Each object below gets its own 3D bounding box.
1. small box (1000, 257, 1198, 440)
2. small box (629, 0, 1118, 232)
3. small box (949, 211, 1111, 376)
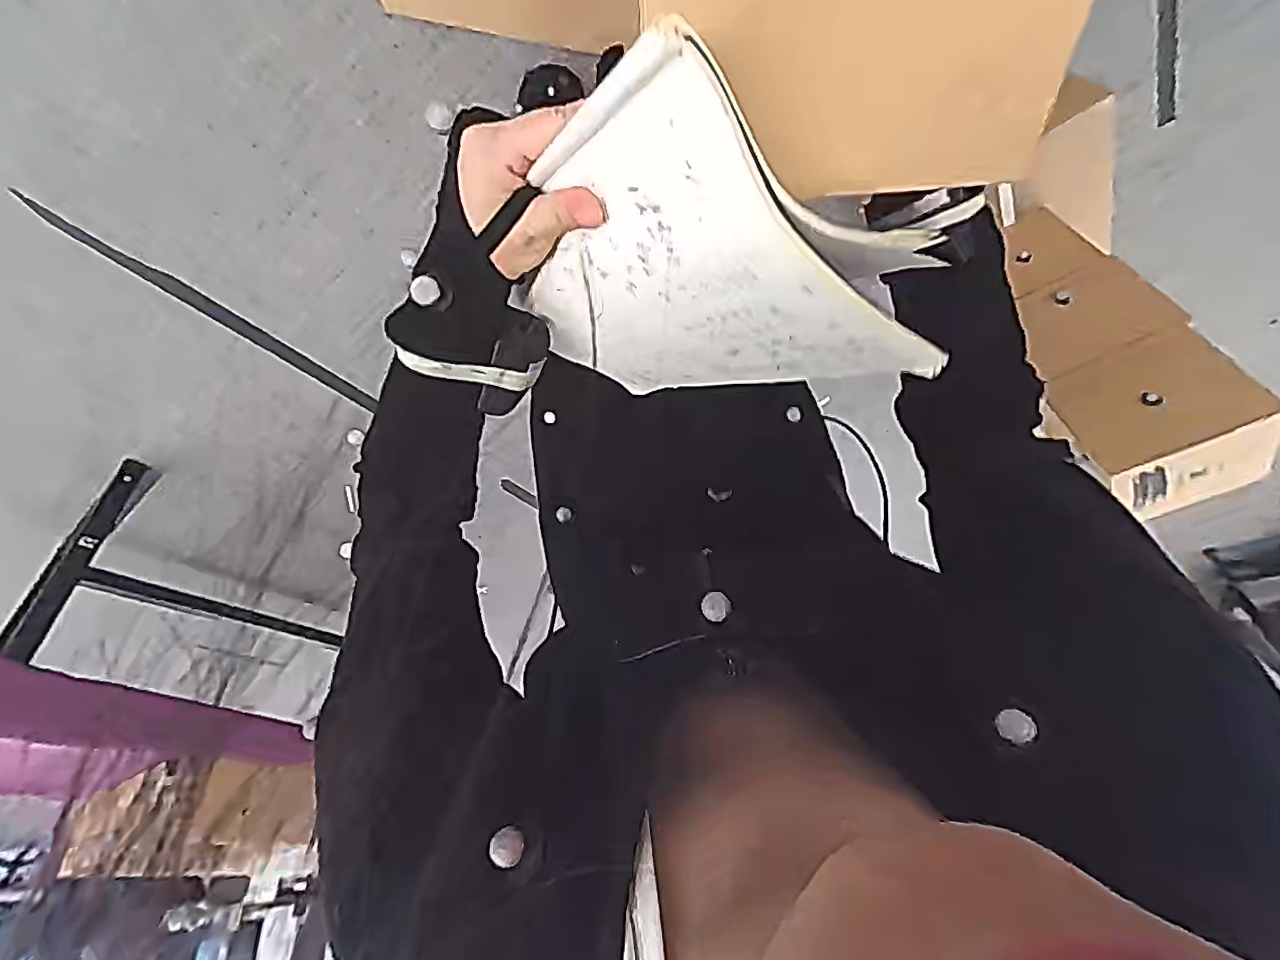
[{"bbox_3d":[0.684,-0.198,0.831,0.179,0.176,0.168,-26,138,24],"label":"small box"},{"bbox_3d":[0.080,-0.230,0.233,0.168,0.176,0.179,-5,133,1],"label":"small box"},{"bbox_3d":[0.661,-0.321,0.937,0.179,0.176,0.168,-26,138,21],"label":"small box"}]
